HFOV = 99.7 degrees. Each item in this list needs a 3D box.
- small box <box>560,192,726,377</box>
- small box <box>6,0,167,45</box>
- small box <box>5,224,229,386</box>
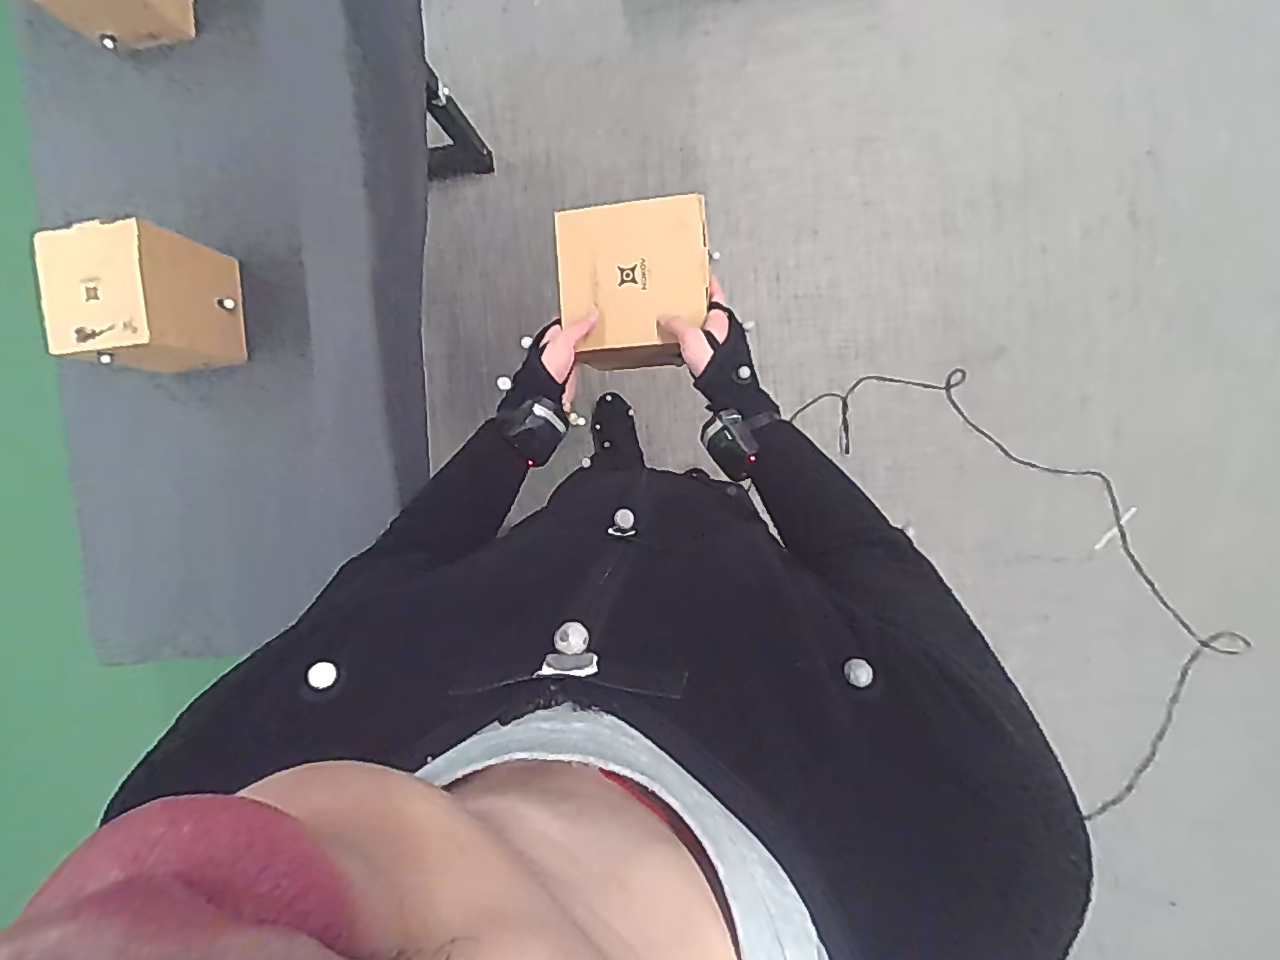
[{"bbox_3d":[0.013,-0.229,0.680,0.179,0.176,0.168,-5,91,9],"label":"small box"},{"bbox_3d":[-0.839,-0.777,0.785,0.168,0.176,0.179,-4,91,5],"label":"small box"},{"bbox_3d":[-0.751,-0.245,0.795,0.168,0.176,0.179,-6,90,5],"label":"small box"}]
